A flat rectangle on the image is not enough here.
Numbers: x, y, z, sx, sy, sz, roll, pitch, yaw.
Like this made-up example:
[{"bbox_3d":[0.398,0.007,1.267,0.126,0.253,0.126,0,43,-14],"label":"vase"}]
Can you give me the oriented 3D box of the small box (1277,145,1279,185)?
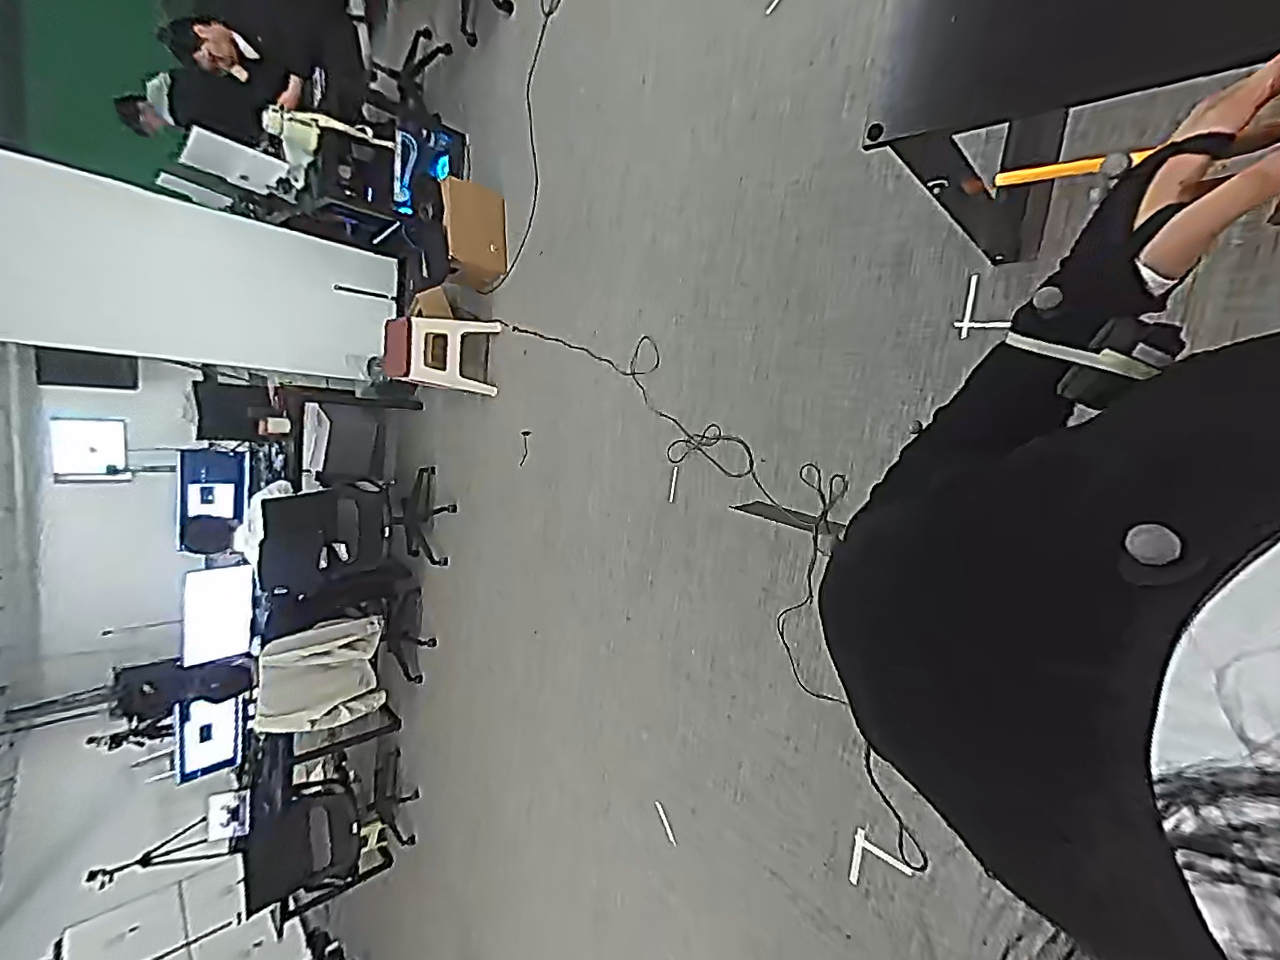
[{"bbox_3d":[0.453,-0.253,0.260,0.168,0.176,0.179,11,105,43],"label":"small box"}]
